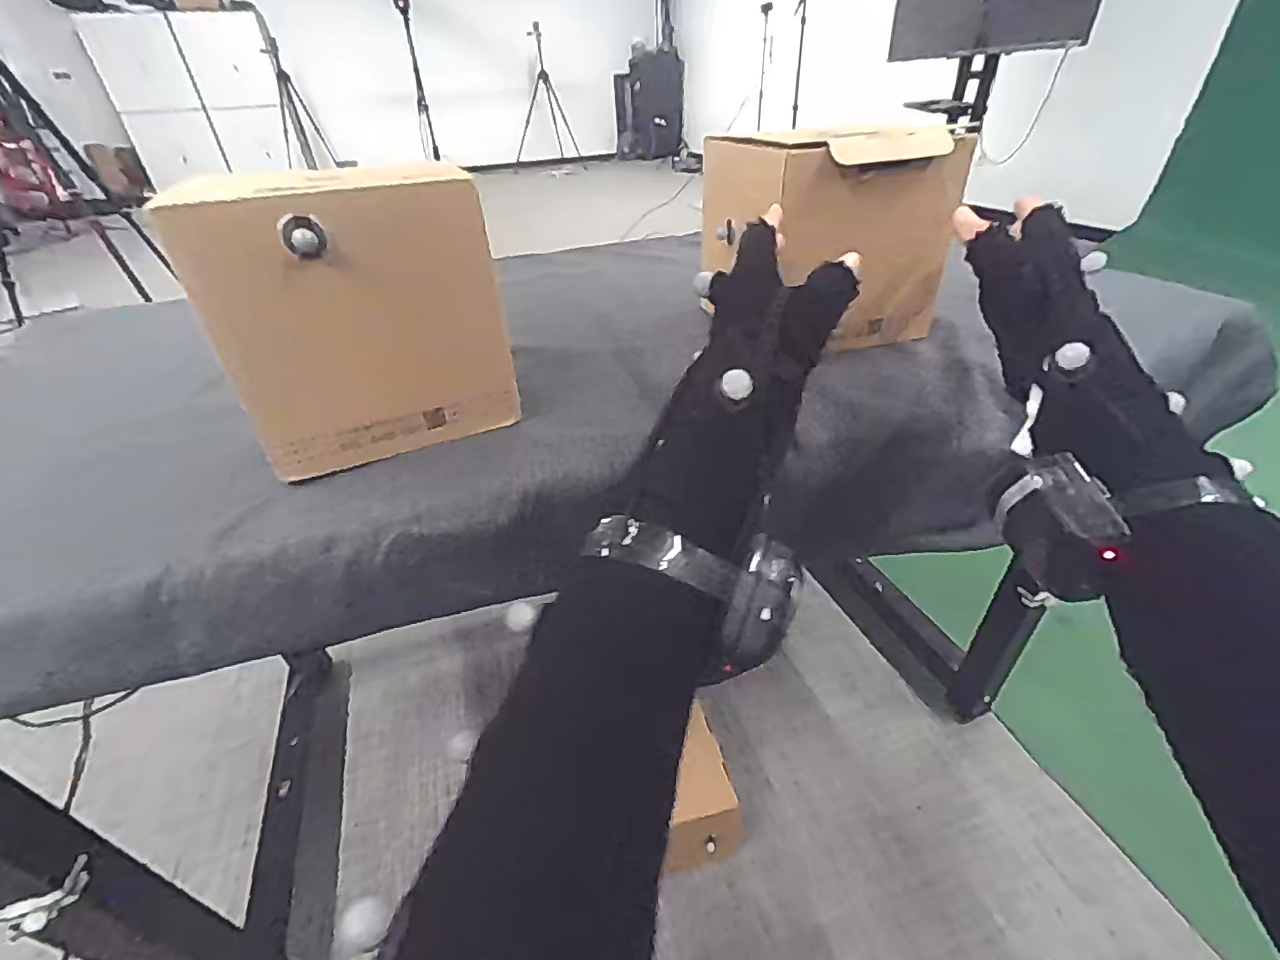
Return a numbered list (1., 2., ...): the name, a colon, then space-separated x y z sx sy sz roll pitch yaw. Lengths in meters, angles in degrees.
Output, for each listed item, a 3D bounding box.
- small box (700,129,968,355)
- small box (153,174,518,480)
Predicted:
1. small box: 0.164 -0.228 0.520 0.168 0.176 0.179 -11 35 -10
2. small box: -0.204 -0.124 0.406 0.168 0.176 0.179 -18 36 -20
